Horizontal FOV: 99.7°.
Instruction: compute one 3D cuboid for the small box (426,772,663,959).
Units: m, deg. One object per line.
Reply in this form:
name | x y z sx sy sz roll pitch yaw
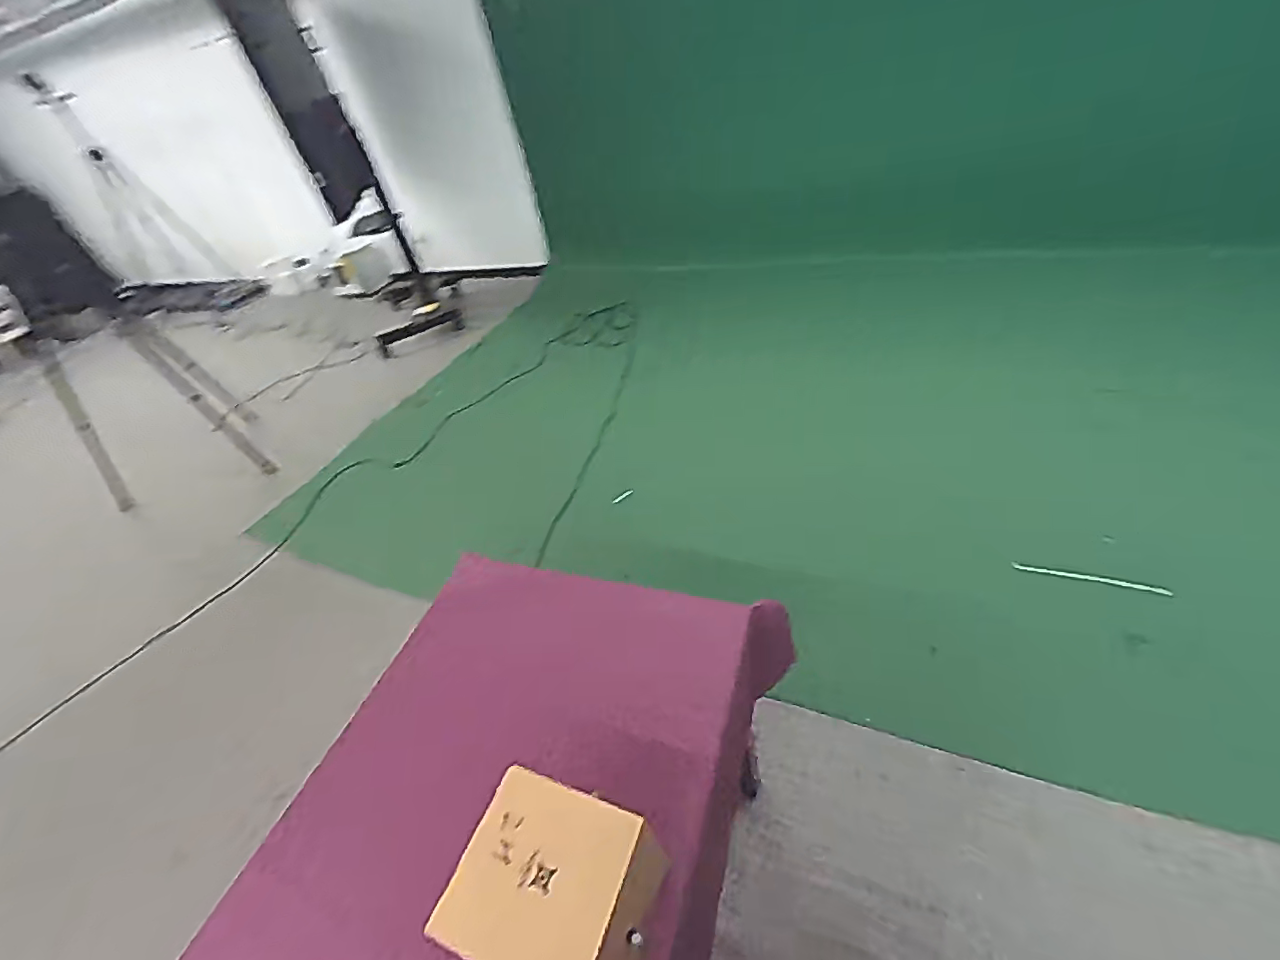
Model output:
small box | -0.087 0.464 0.598 0.179 0.176 0.168 7 44 24
